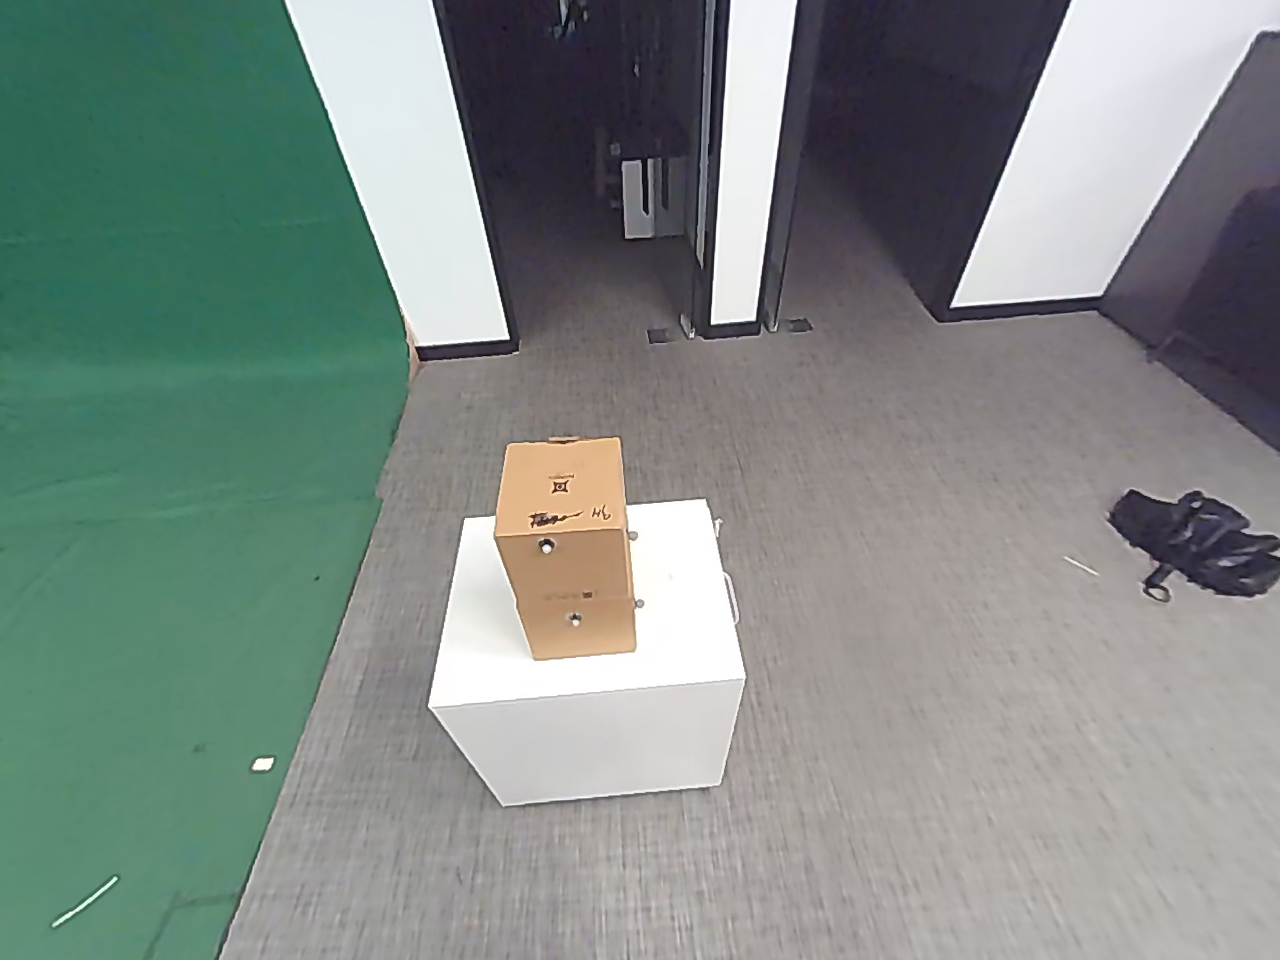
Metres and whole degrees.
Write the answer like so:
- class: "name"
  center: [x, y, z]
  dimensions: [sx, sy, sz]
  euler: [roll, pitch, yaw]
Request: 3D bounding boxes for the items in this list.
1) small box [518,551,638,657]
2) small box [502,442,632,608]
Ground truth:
- class: "small box"
  center: [-0.098, 0.183, 0.911]
  dimensions: [0.179, 0.176, 0.168]
  euler: [-4, 45, -3]
- class: "small box"
  center: [-0.101, 0.066, 0.800]
  dimensions: [0.168, 0.176, 0.179]
  euler: [-5, 46, -4]
